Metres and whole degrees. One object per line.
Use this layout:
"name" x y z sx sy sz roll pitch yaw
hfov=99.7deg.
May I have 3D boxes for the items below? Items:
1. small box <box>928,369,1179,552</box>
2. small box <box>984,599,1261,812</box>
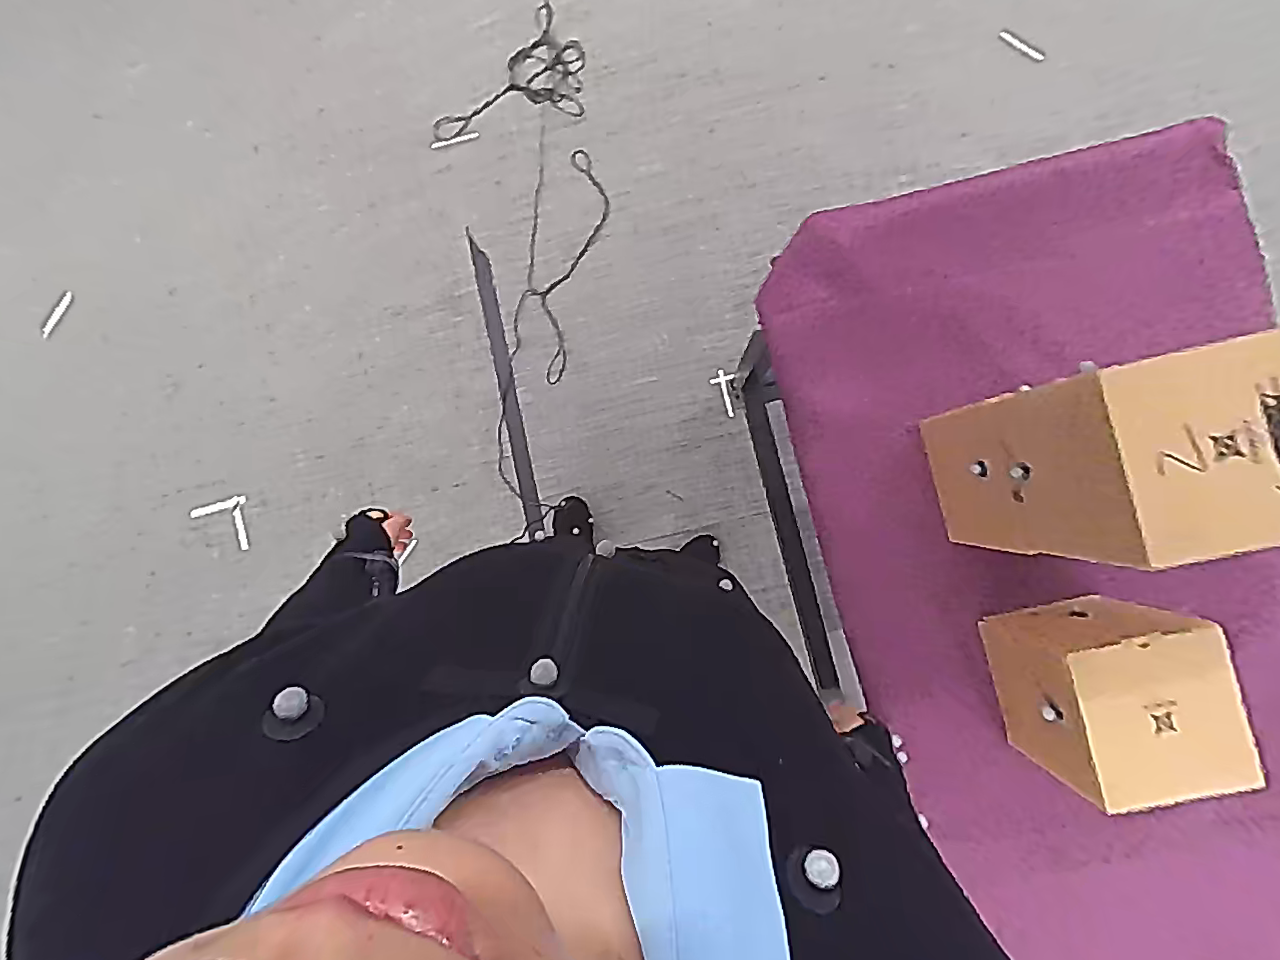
"small box" 0.488 -0.018 0.670 0.168 0.176 0.179 -13 87 3
"small box" 0.561 0.258 0.656 0.168 0.176 0.179 -13 86 3
